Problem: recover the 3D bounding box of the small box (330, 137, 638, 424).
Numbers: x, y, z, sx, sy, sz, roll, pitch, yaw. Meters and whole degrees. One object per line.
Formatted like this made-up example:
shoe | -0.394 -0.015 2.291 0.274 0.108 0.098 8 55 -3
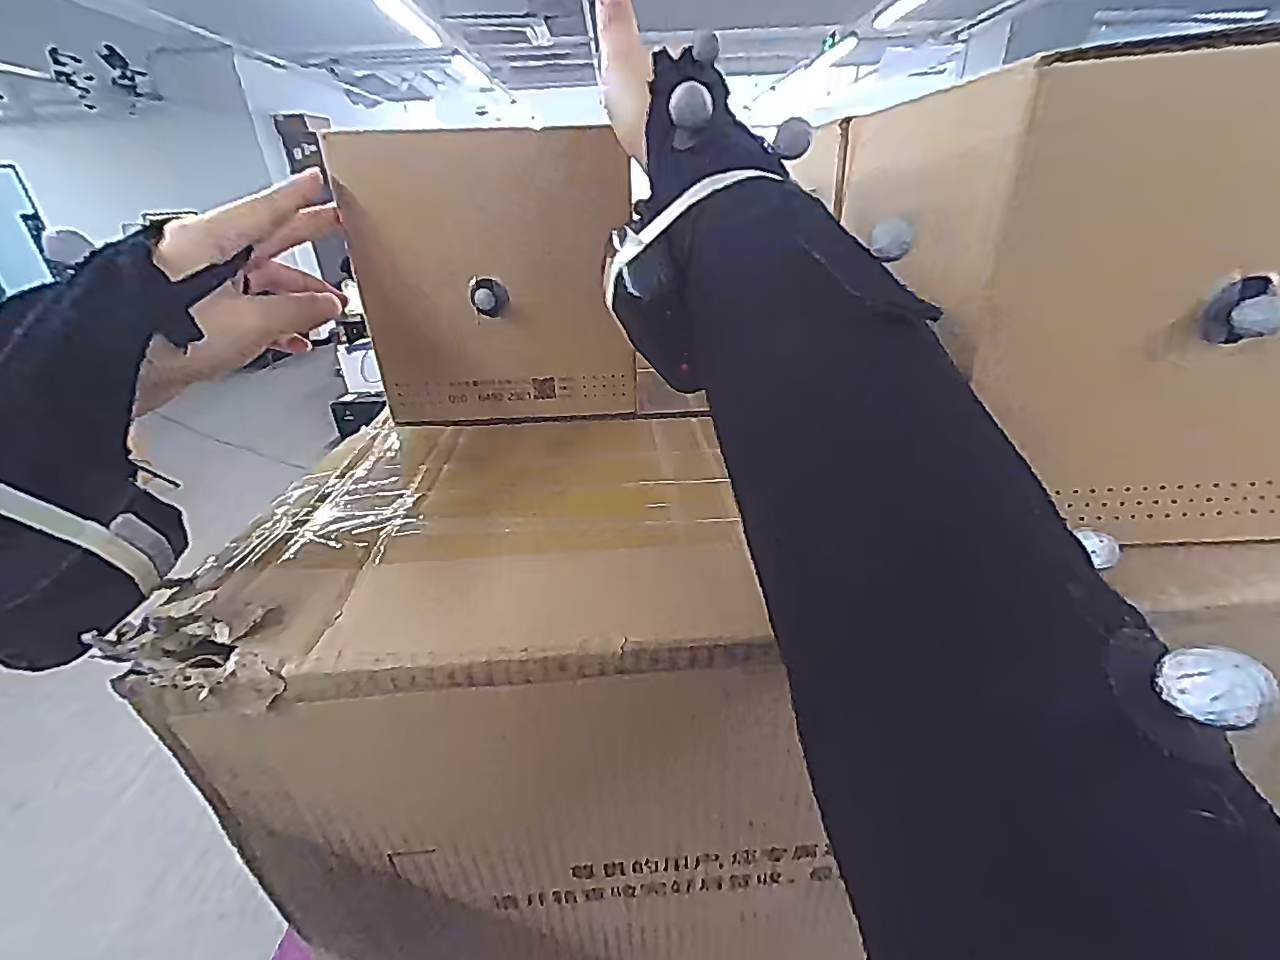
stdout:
small box | -0.086 -0.146 0.400 0.168 0.176 0.179 -1 28 -2
